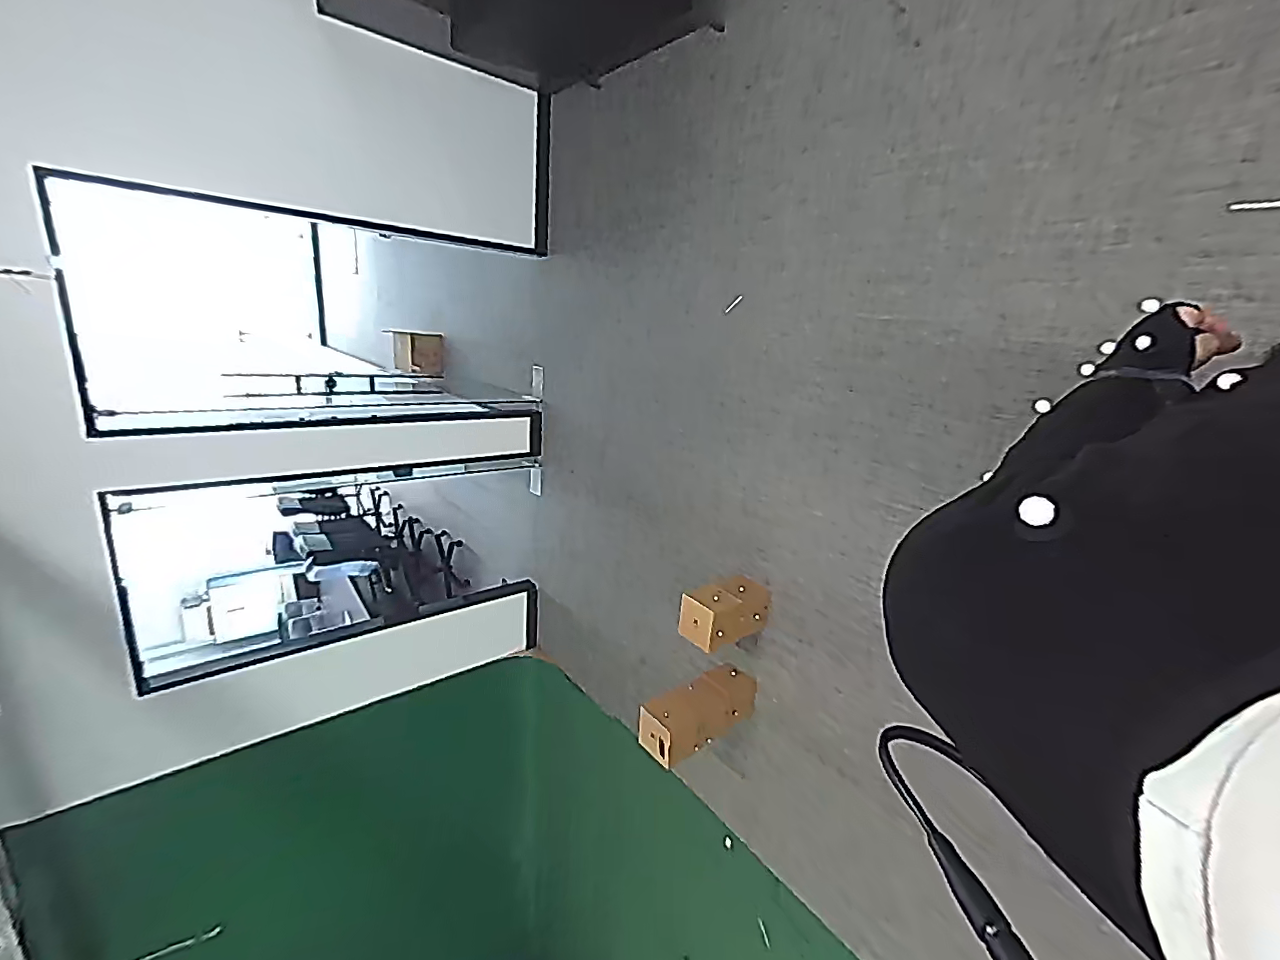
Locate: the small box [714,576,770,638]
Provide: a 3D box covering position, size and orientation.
[{"bbox_3d":[0.394,0.499,2.163,0.179,0.176,0.168,24,114,46],"label":"small box"}]

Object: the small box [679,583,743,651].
[{"bbox_3d":[0.272,0.514,2.056,0.168,0.176,0.179,23,114,47],"label":"small box"}]

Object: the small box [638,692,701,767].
[{"bbox_3d":[0.115,0.939,2.056,0.179,0.176,0.168,21,112,49],"label":"small box"}]

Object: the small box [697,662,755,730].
[{"bbox_3d":[0.363,0.901,2.268,0.168,0.176,0.179,22,113,47],"label":"small box"}]
